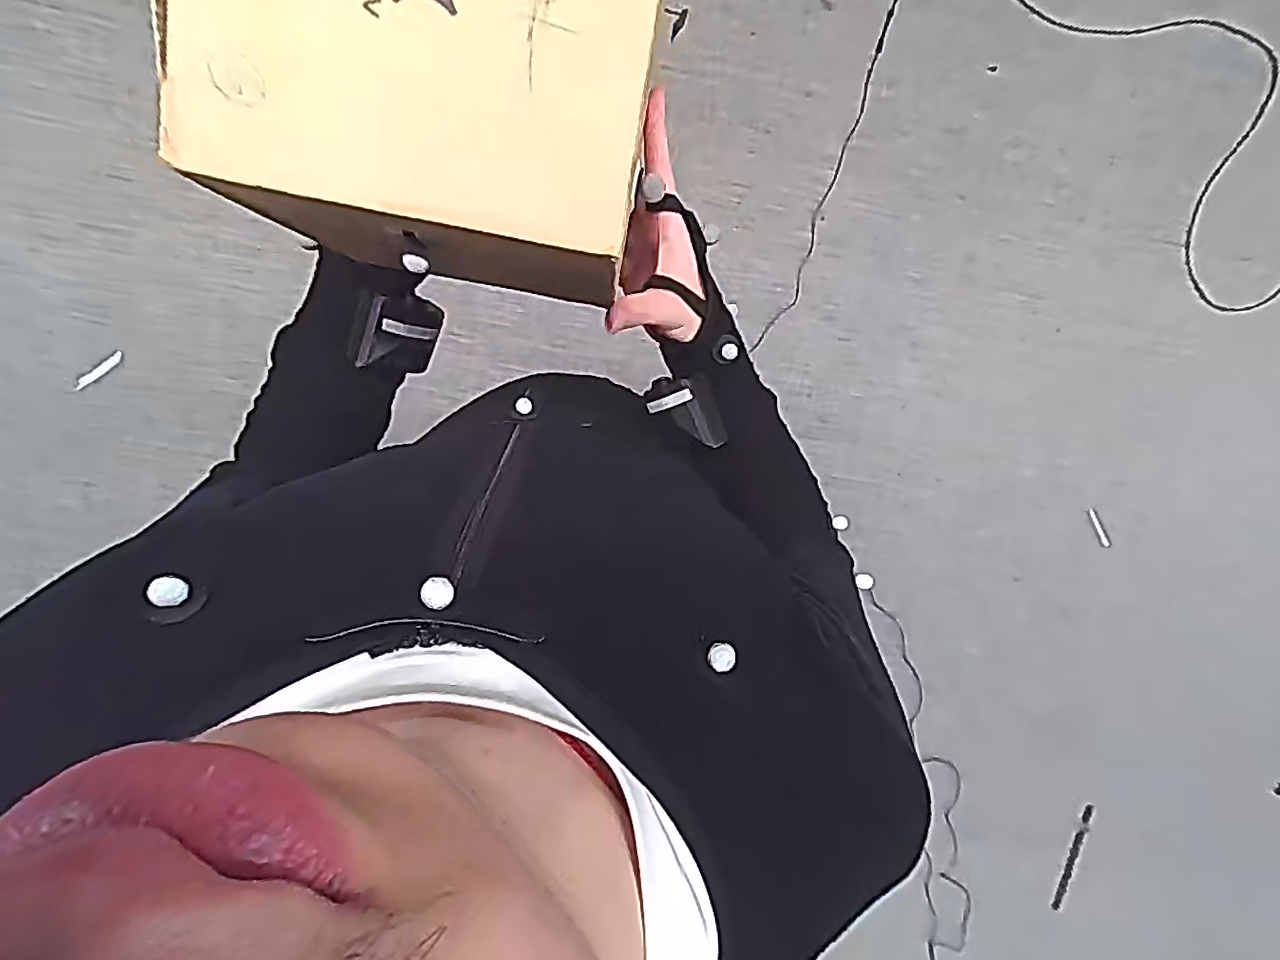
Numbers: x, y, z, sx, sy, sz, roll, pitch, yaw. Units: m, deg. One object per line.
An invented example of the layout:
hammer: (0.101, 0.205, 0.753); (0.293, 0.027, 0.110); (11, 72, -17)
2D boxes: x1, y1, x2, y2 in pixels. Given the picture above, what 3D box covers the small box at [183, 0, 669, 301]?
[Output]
small box: (-0.084, -0.200, 0.284); (0.179, 0.176, 0.168); (10, 101, -6)
